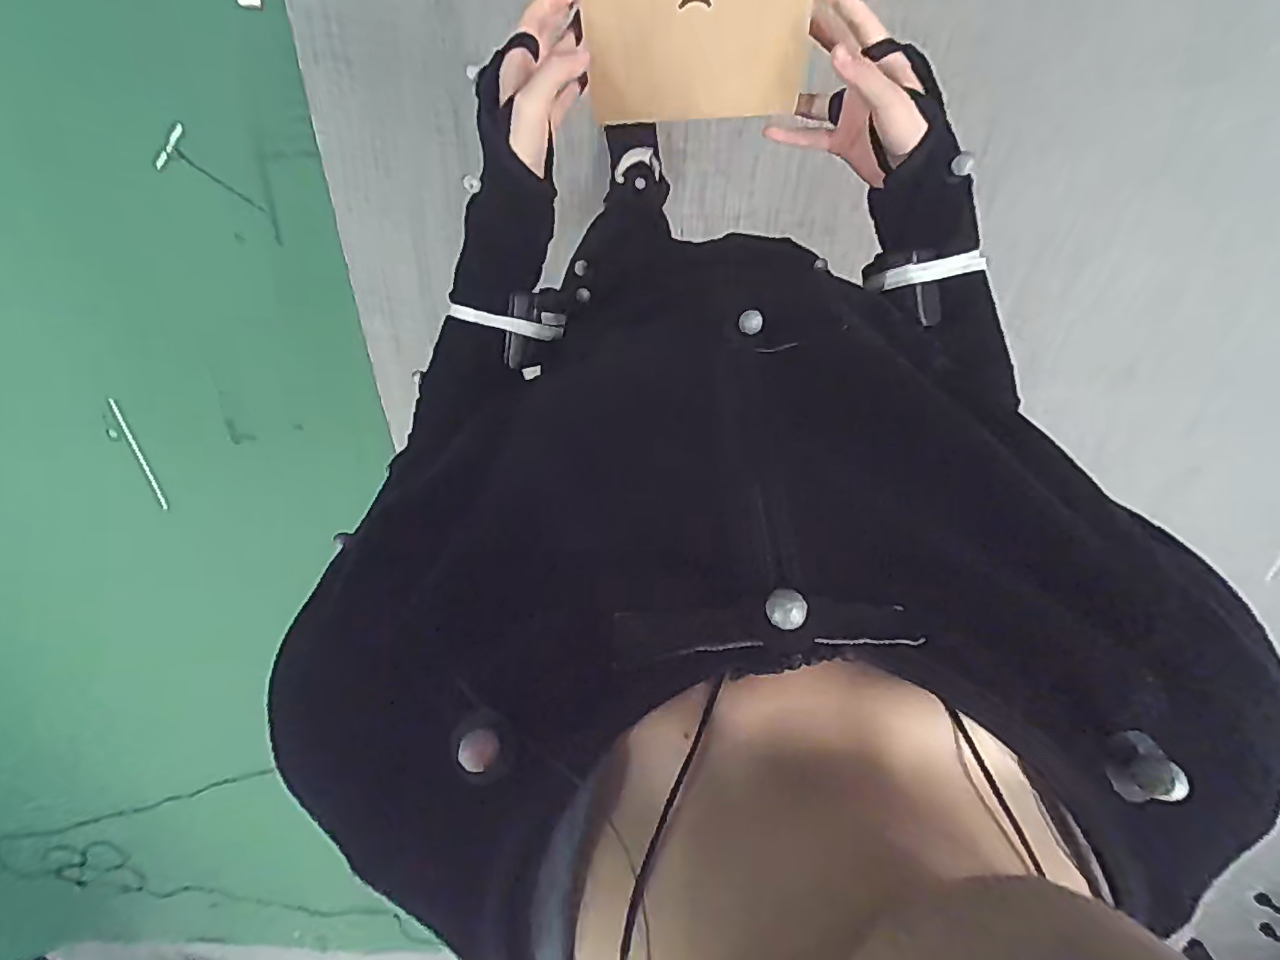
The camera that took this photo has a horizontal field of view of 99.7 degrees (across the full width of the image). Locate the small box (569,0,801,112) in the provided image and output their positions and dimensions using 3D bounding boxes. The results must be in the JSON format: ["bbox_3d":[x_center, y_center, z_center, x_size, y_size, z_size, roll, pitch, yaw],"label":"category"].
[{"bbox_3d":[0.034,-0.413,0.406,0.168,0.176,0.179,-1,145,4],"label":"small box"}]
